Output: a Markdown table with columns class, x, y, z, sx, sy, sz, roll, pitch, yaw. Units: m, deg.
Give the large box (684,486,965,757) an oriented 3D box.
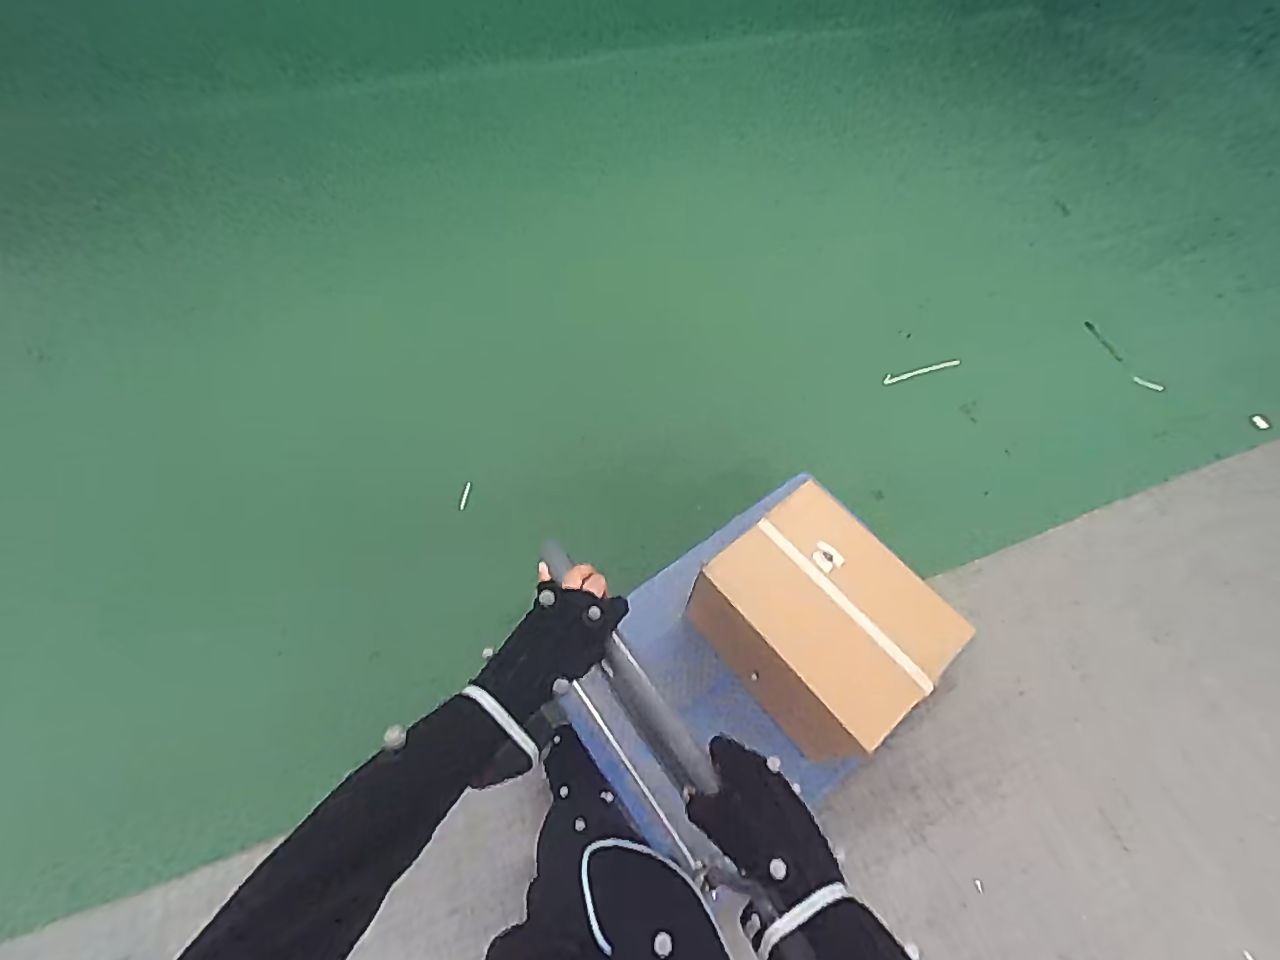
| class | x | y | z | sx | sy | sz | roll | pitch | yaw |
| --- | --- | --- | --- | --- | --- | --- | --- | --- | --- |
| large box | 0.346 | 0.298 | 1.128 | 0.320 | 0.320 | 0.408 | -35 | 66 | -21 |
